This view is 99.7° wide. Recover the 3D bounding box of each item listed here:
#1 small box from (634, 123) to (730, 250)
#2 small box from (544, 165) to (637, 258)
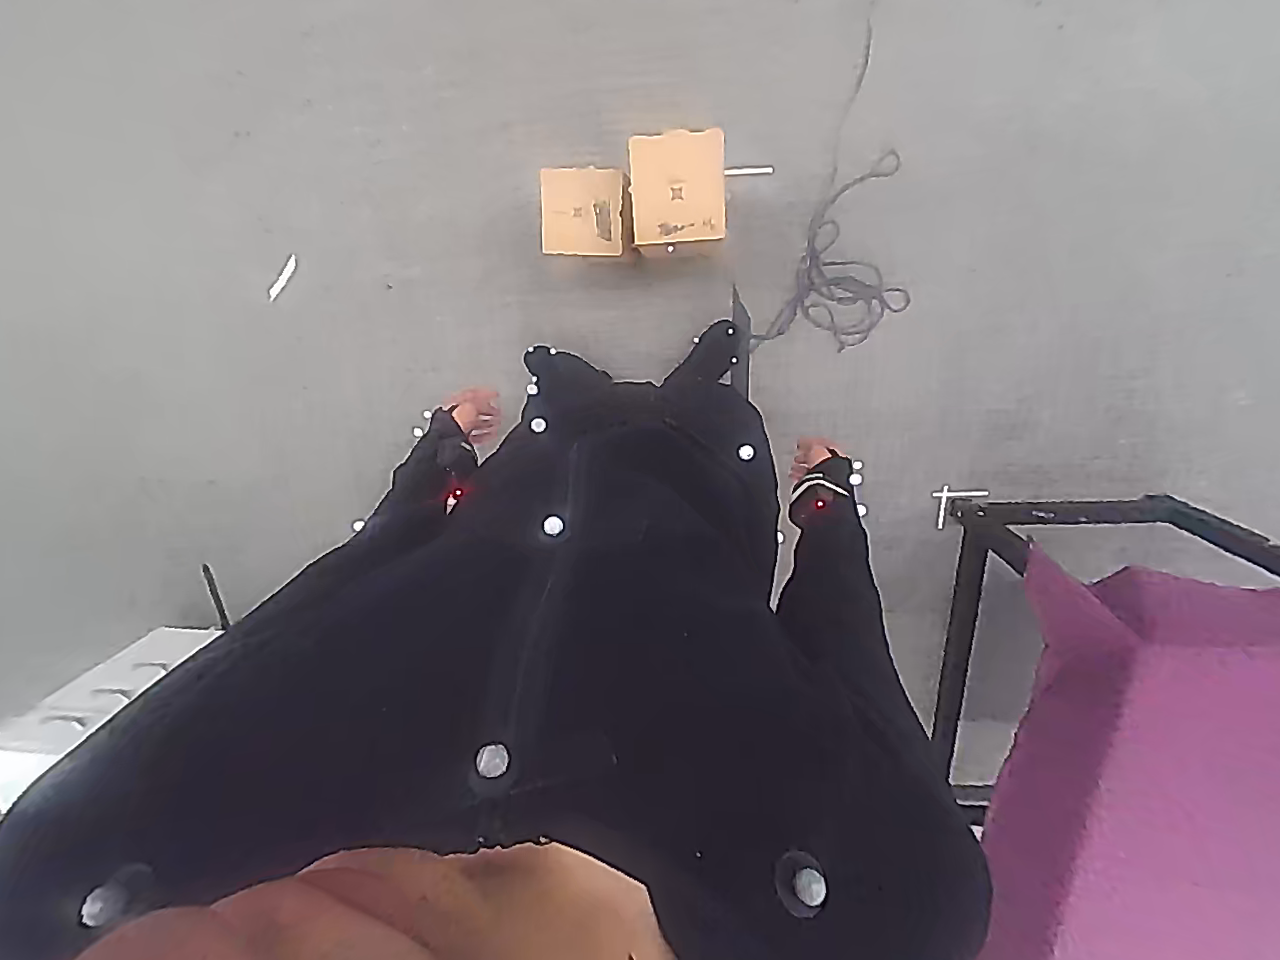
[{"bbox_3d":[0.082,-0.537,1.012,0.168,0.176,0.179,-1,108,8],"label":"small box"},{"bbox_3d":[-0.102,-0.586,1.193,0.179,0.176,0.168,5,110,7],"label":"small box"}]
